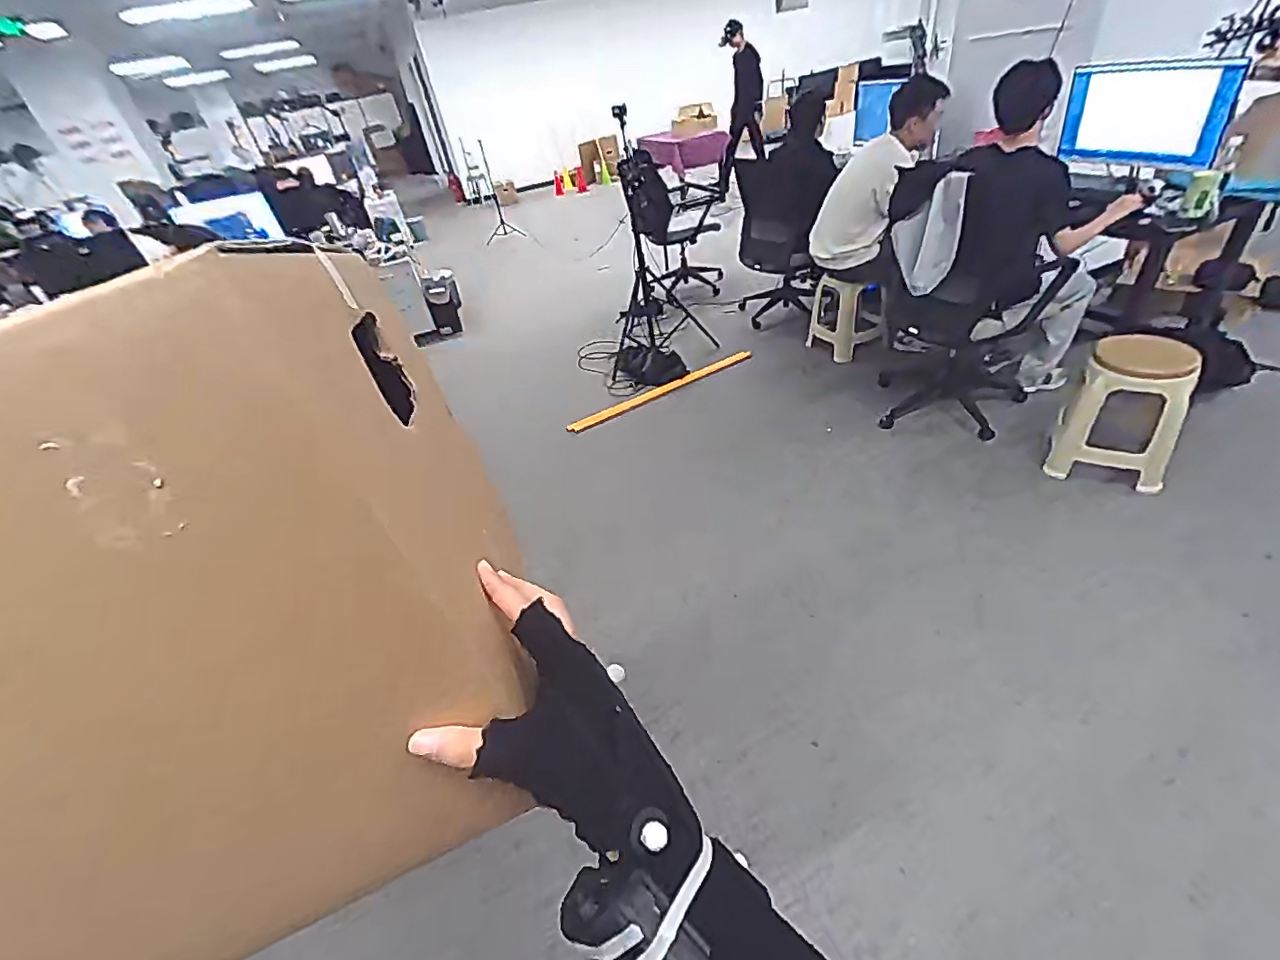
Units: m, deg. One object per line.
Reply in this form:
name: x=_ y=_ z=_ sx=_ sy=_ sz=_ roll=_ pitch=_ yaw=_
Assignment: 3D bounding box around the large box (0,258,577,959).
large box: x=-0.301 y=0.080 z=0.358 sx=0.408 sy=0.320 sz=0.320 roll=-23 pitch=27 yaw=-9
